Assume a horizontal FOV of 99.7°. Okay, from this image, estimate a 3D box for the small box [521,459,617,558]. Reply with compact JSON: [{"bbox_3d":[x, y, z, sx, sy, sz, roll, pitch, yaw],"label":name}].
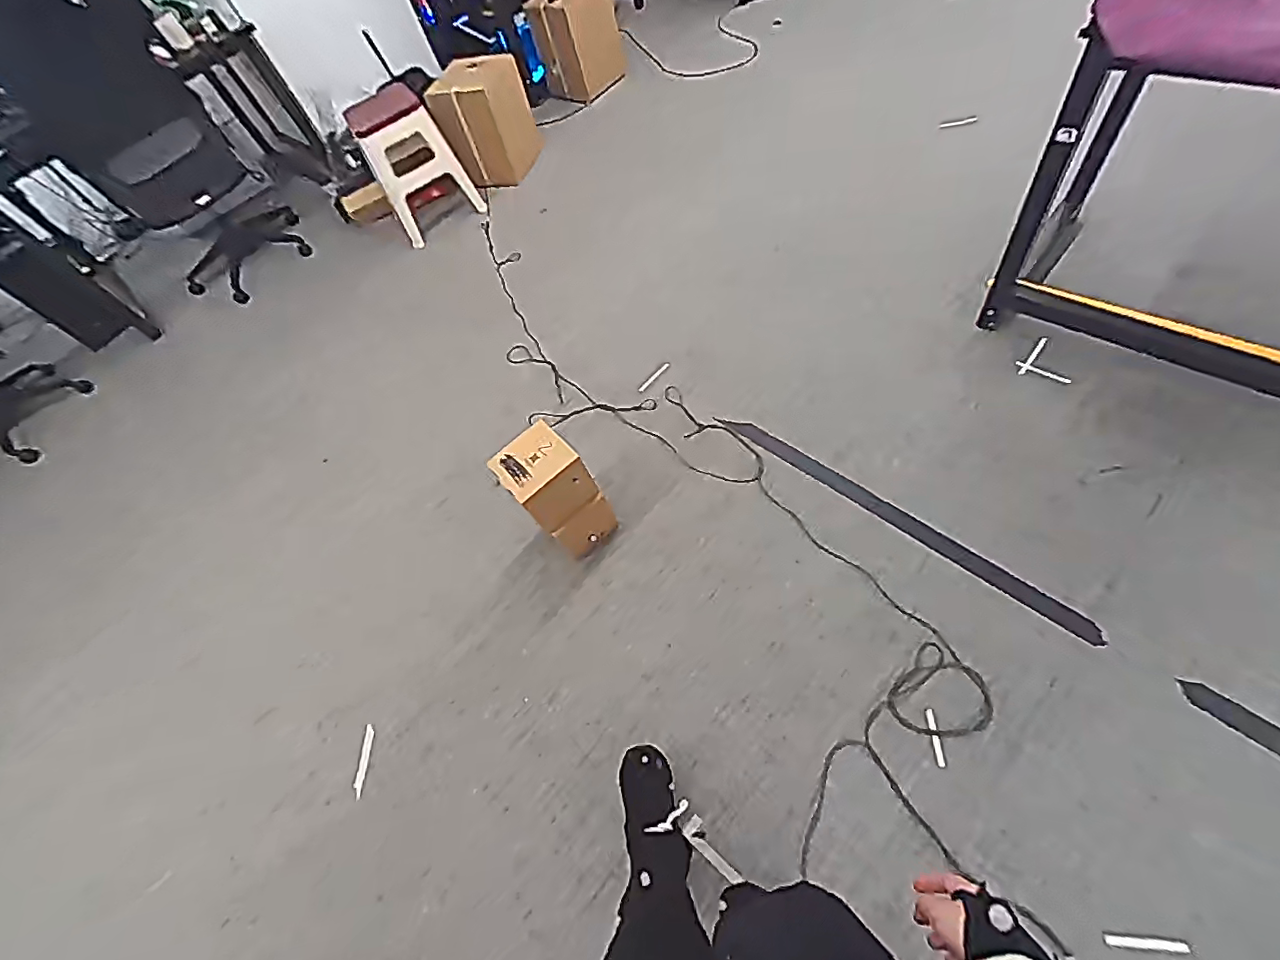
[{"bbox_3d":[-0.188,0.082,1.470,0.168,0.176,0.179,-41,60,-11],"label":"small box"}]
